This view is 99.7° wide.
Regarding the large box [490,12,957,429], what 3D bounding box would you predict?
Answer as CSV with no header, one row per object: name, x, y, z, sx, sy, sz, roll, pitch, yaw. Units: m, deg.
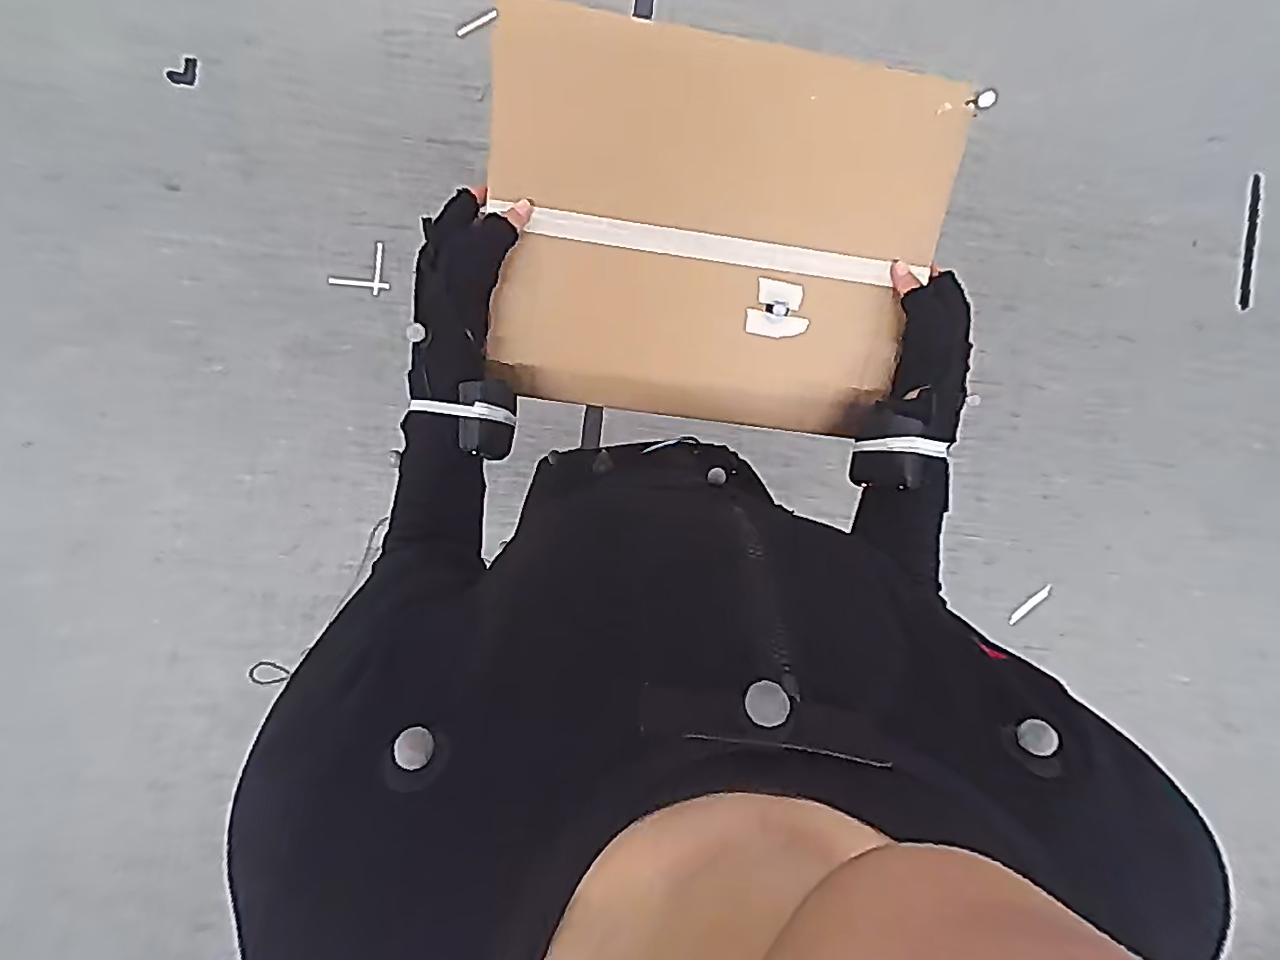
large box,0.056,-0.263,0.644,0.408,0.320,0.320,7,109,-6
